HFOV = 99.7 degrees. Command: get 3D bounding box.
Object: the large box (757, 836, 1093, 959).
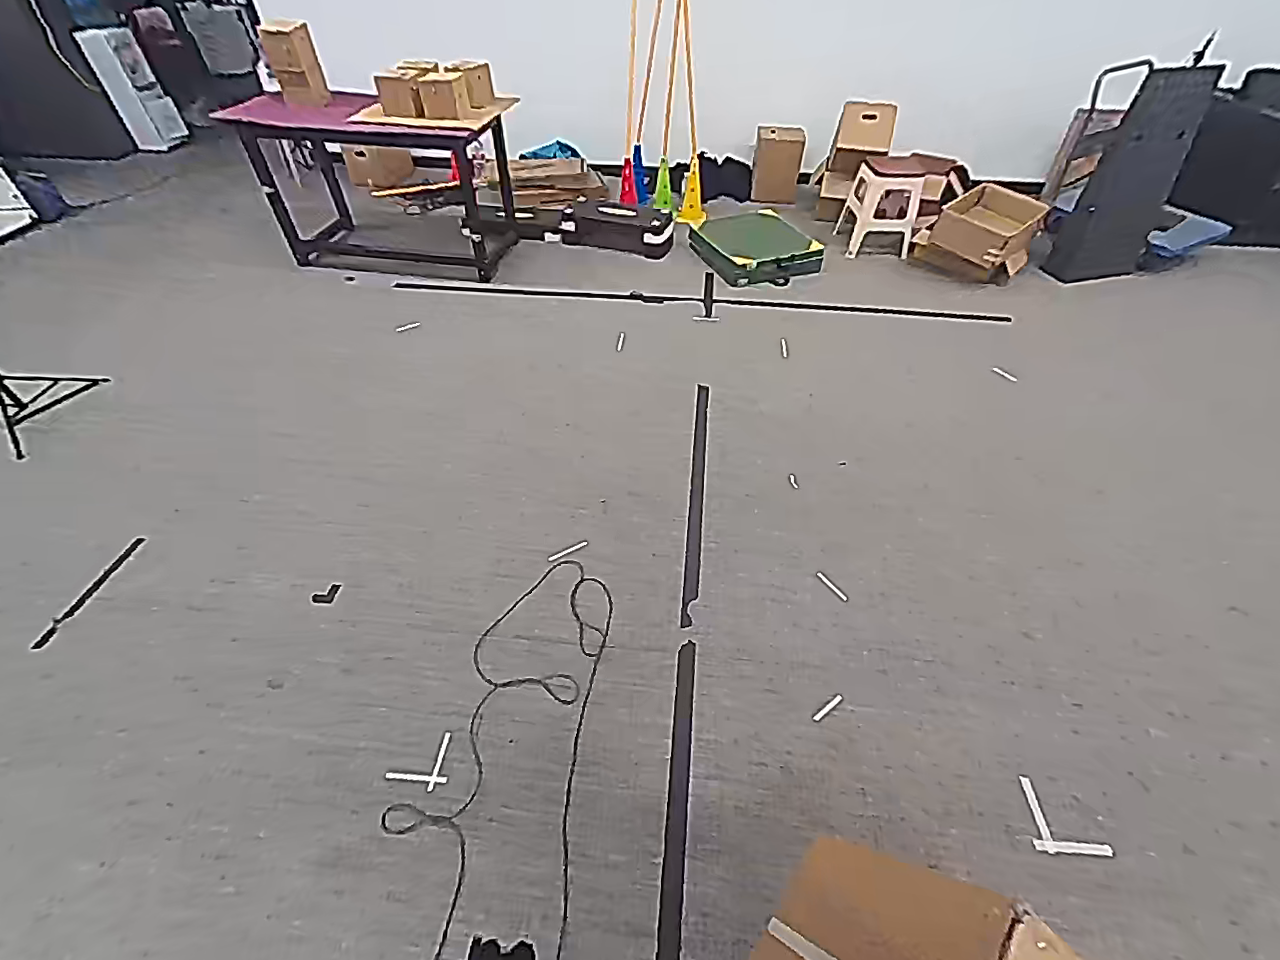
[{"bbox_3d":[0.380,0.721,0.665,0.320,0.408,0.320,42,63,5],"label":"large box"}]
